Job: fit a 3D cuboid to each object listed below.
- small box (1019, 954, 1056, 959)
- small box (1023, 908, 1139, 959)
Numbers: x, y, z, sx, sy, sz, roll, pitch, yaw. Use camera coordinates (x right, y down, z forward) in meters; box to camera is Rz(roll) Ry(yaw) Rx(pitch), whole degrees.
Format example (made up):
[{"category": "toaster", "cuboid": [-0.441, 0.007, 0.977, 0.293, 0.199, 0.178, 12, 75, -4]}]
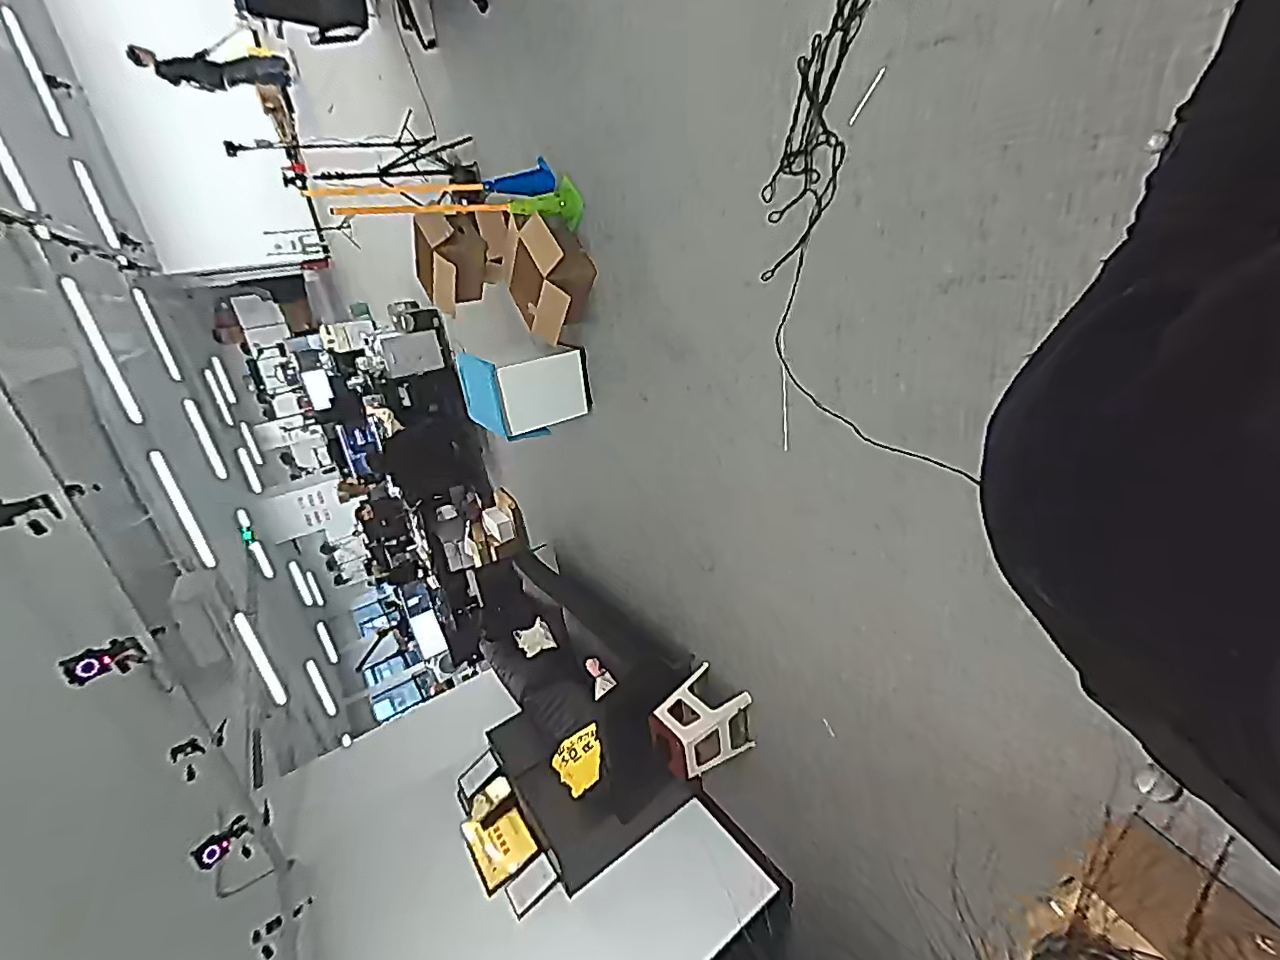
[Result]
[{"category": "small box", "cuboid": [0.977, 1.279, 1.284, 0.179, 0.176, 0.168, 44, 145, 36]}, {"category": "small box", "cuboid": [1.115, 1.228, 1.354, 0.168, 0.176, 0.179, 43, 144, 38]}]
